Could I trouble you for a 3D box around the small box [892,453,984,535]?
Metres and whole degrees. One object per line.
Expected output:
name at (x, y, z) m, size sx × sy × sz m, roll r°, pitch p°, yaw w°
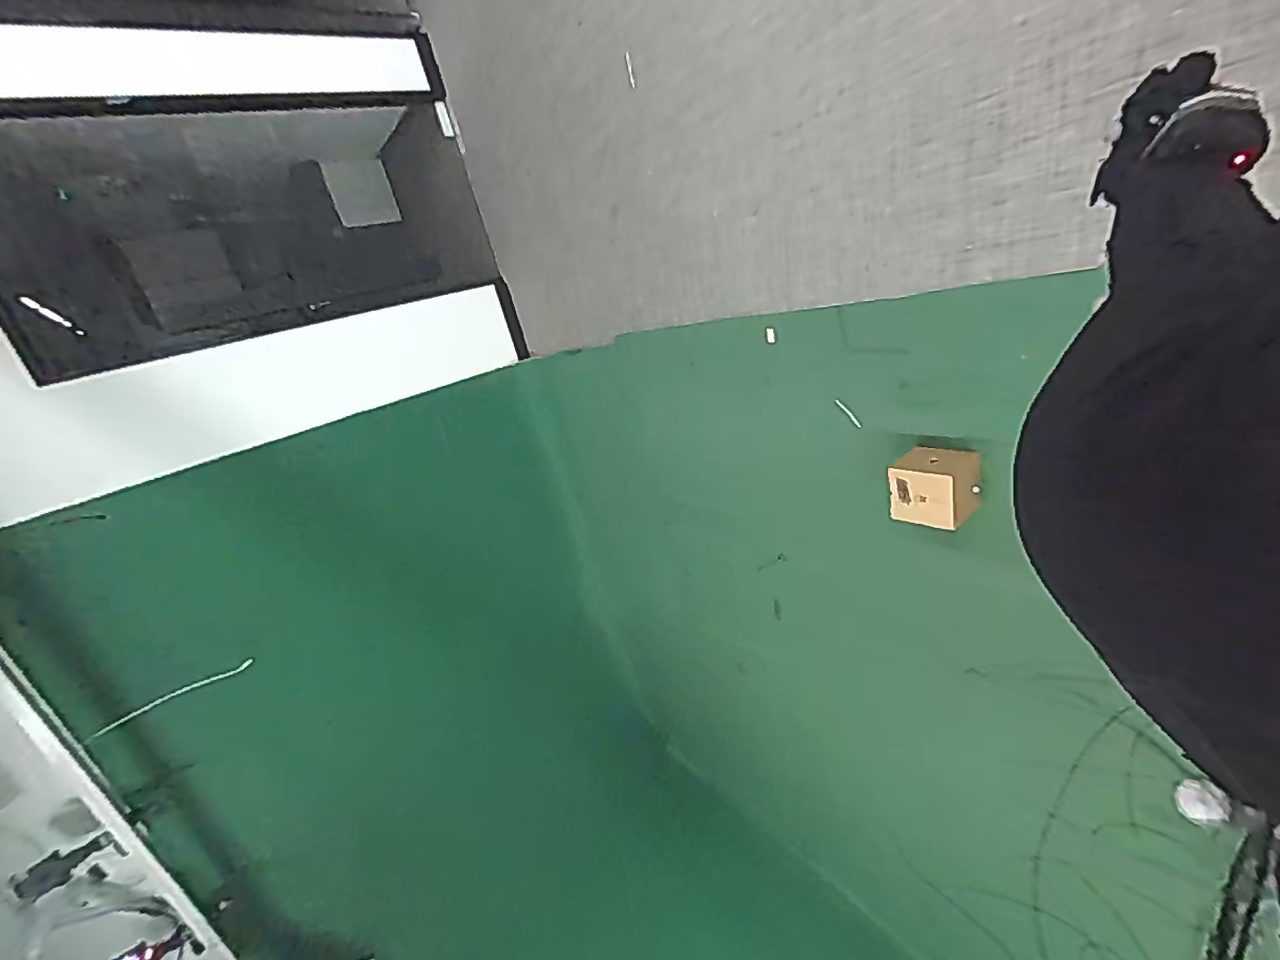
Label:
small box at (0.840, 0.031, 1.526) m, size 0.179 × 0.176 × 0.168 m, roll 14°, pitch 124°, yaw 51°
